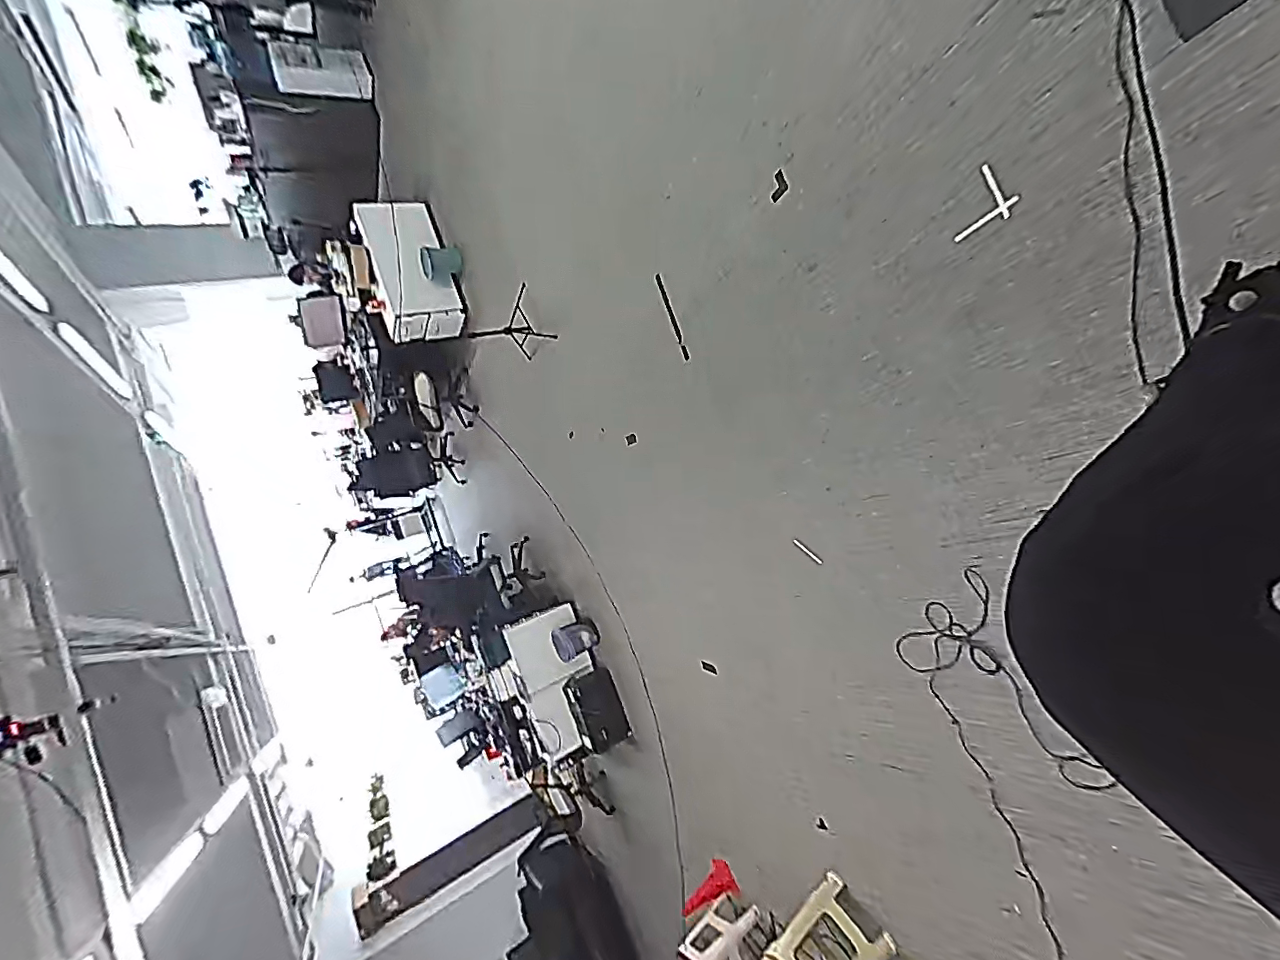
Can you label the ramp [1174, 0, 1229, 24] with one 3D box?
[{"bbox_3d":[0.834,-1.277,0.715,0.509,0.206,0.991,-27,83,59],"label":"ramp"}]
